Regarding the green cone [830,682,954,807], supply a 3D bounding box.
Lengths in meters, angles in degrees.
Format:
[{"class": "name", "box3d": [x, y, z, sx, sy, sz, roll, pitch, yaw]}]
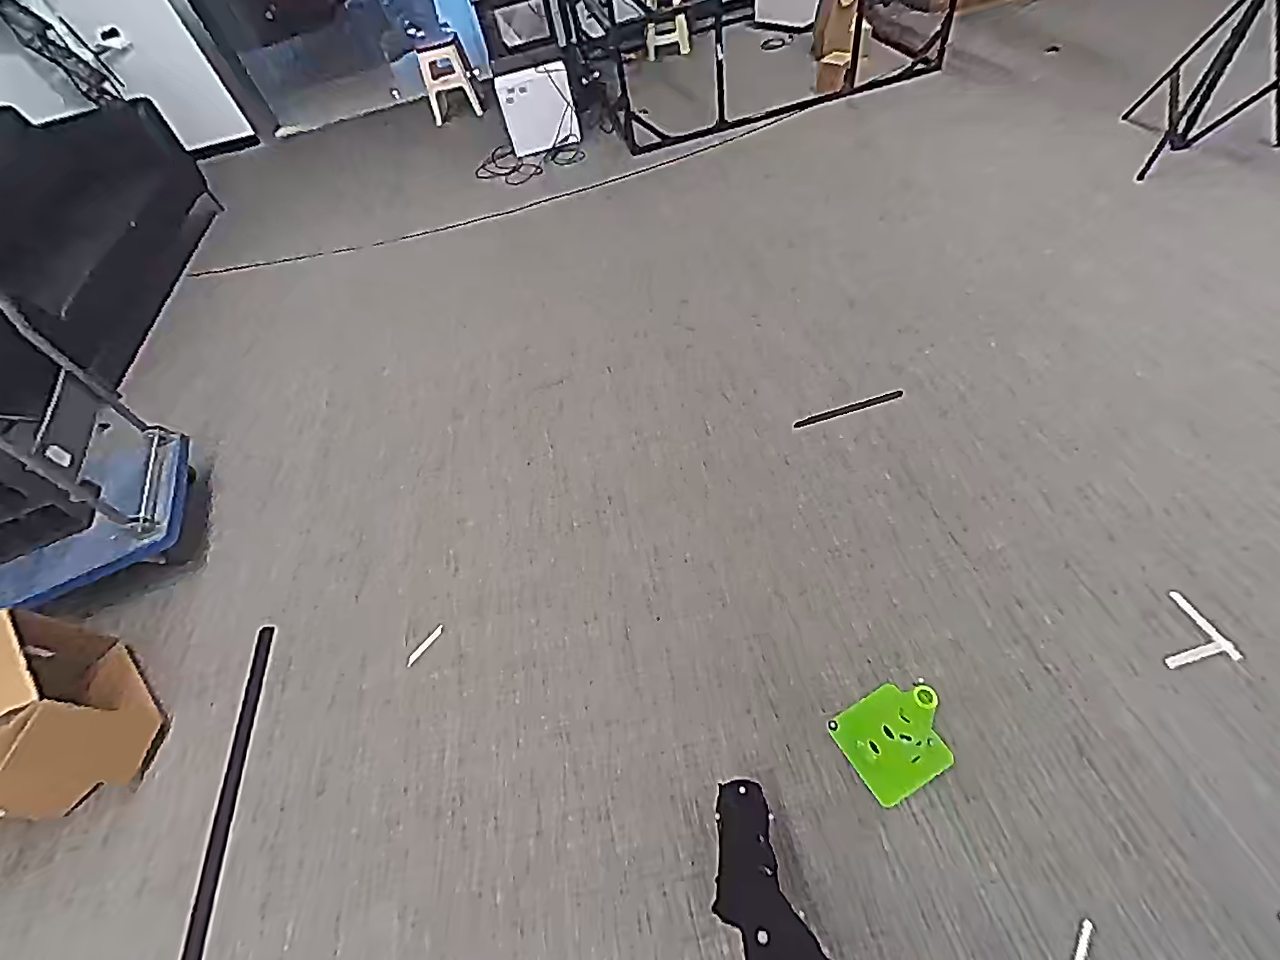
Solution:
[{"class": "green cone", "box3d": [0.537, 0.488, 1.083, 0.202, 0.368, 0.200, -28, 53, -11]}]
